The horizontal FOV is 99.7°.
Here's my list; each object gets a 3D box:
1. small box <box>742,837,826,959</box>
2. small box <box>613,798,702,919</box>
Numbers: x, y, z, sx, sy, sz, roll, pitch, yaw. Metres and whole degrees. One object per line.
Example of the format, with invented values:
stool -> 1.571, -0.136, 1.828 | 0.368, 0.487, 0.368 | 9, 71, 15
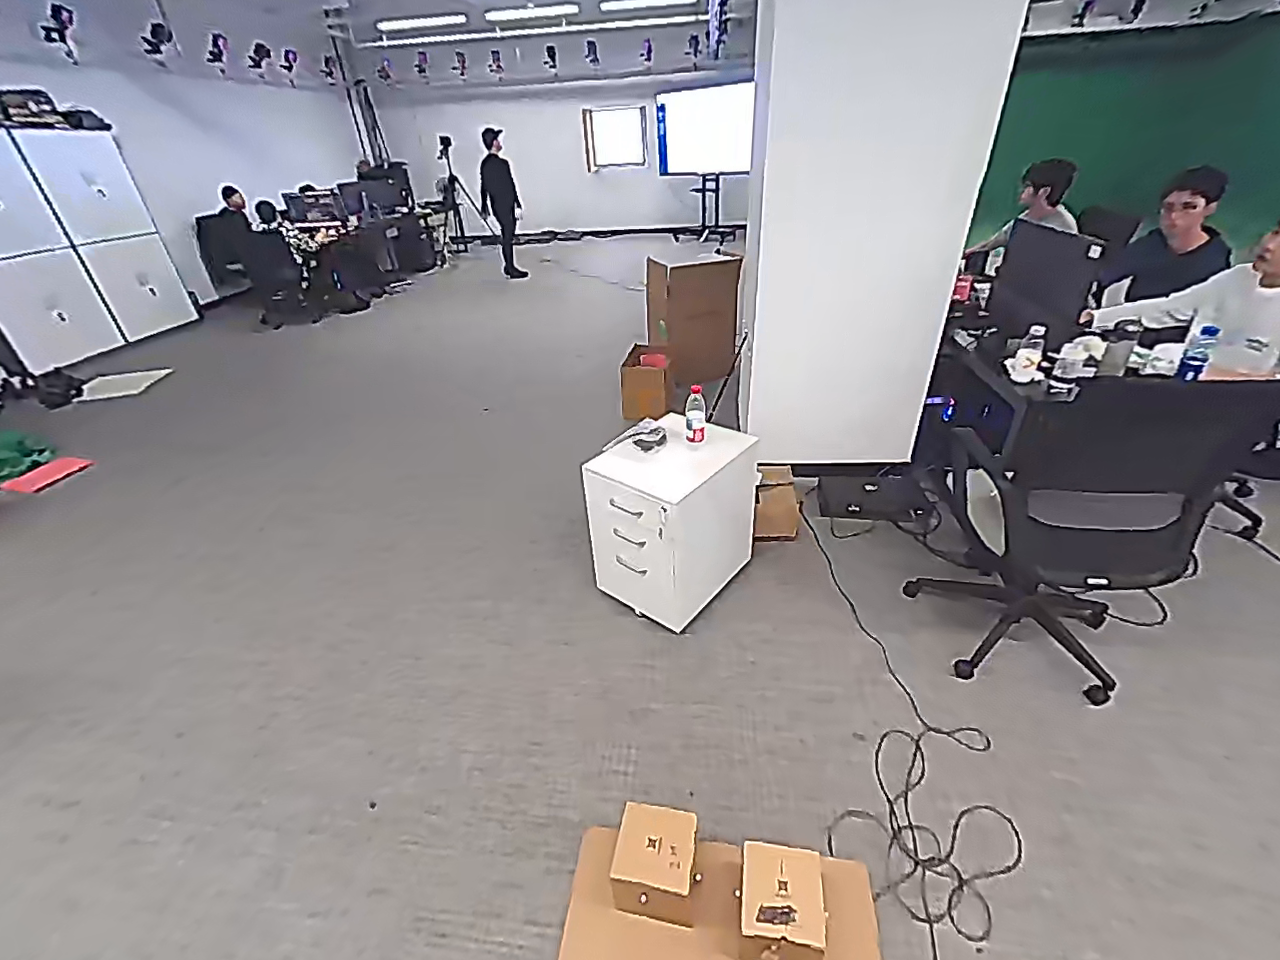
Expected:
small box -> 0.312, 0.928, 1.182 | 0.168, 0.176, 0.179 | 2, 32, 13
small box -> 0.048, 0.889, 1.270 | 0.179, 0.176, 0.168 | 4, 34, 13
